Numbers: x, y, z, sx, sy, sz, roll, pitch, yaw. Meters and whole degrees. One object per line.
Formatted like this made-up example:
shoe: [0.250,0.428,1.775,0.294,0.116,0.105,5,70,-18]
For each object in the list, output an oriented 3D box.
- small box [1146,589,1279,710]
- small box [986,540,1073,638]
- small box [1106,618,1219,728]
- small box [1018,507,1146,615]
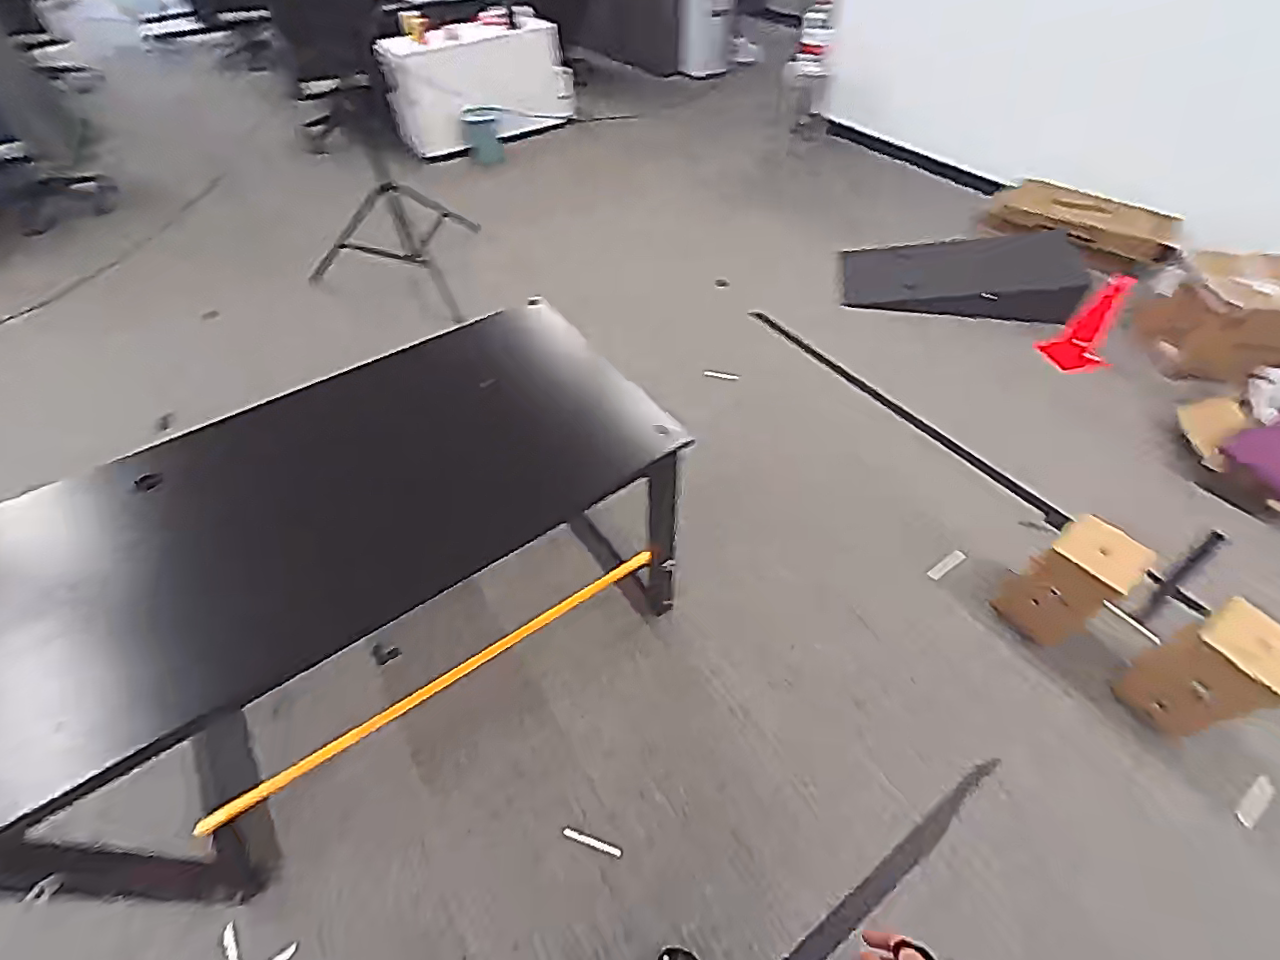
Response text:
small box: [1.323,0.387,1.229,0.179,0.176,0.168,-29,56,-19]
small box: [1.120,0.307,1.510,0.168,0.176,0.179,-32,57,-21]
small box: [1.335,0.490,1.359,0.179,0.176,0.168,-31,56,-20]
small box: [1.115,0.209,1.381,0.179,0.176,0.168,-34,56,-22]
